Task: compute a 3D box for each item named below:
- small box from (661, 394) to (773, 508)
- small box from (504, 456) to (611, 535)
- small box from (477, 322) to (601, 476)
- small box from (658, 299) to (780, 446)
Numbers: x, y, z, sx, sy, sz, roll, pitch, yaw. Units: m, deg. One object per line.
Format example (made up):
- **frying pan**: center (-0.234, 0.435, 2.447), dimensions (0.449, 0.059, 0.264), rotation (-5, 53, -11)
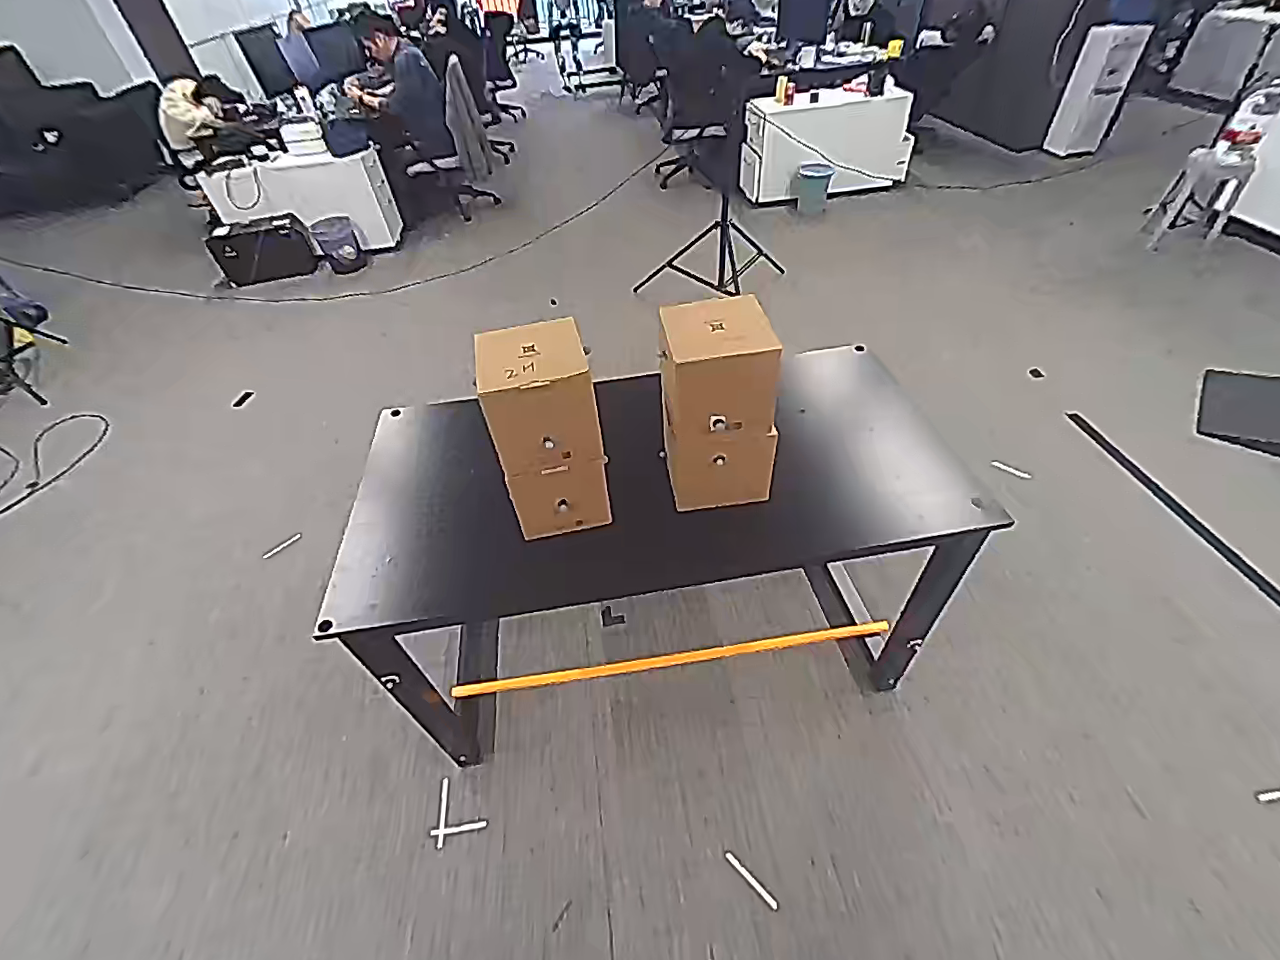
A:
- **small box**: center (0.141, -0.062, 1.028), dimensions (0.179, 0.176, 0.168), rotation (-7, 45, -2)
- **small box**: center (-0.154, -0.015, 1.014), dimensions (0.168, 0.176, 0.179), rotation (-12, 46, -6)
- **small box**: center (-0.167, -0.135, 0.899), dimensions (0.168, 0.176, 0.179), rotation (-13, 45, -6)
- **small box**: center (0.125, -0.182, 0.920), dimensions (0.168, 0.176, 0.179), rotation (-9, 46, -1)
